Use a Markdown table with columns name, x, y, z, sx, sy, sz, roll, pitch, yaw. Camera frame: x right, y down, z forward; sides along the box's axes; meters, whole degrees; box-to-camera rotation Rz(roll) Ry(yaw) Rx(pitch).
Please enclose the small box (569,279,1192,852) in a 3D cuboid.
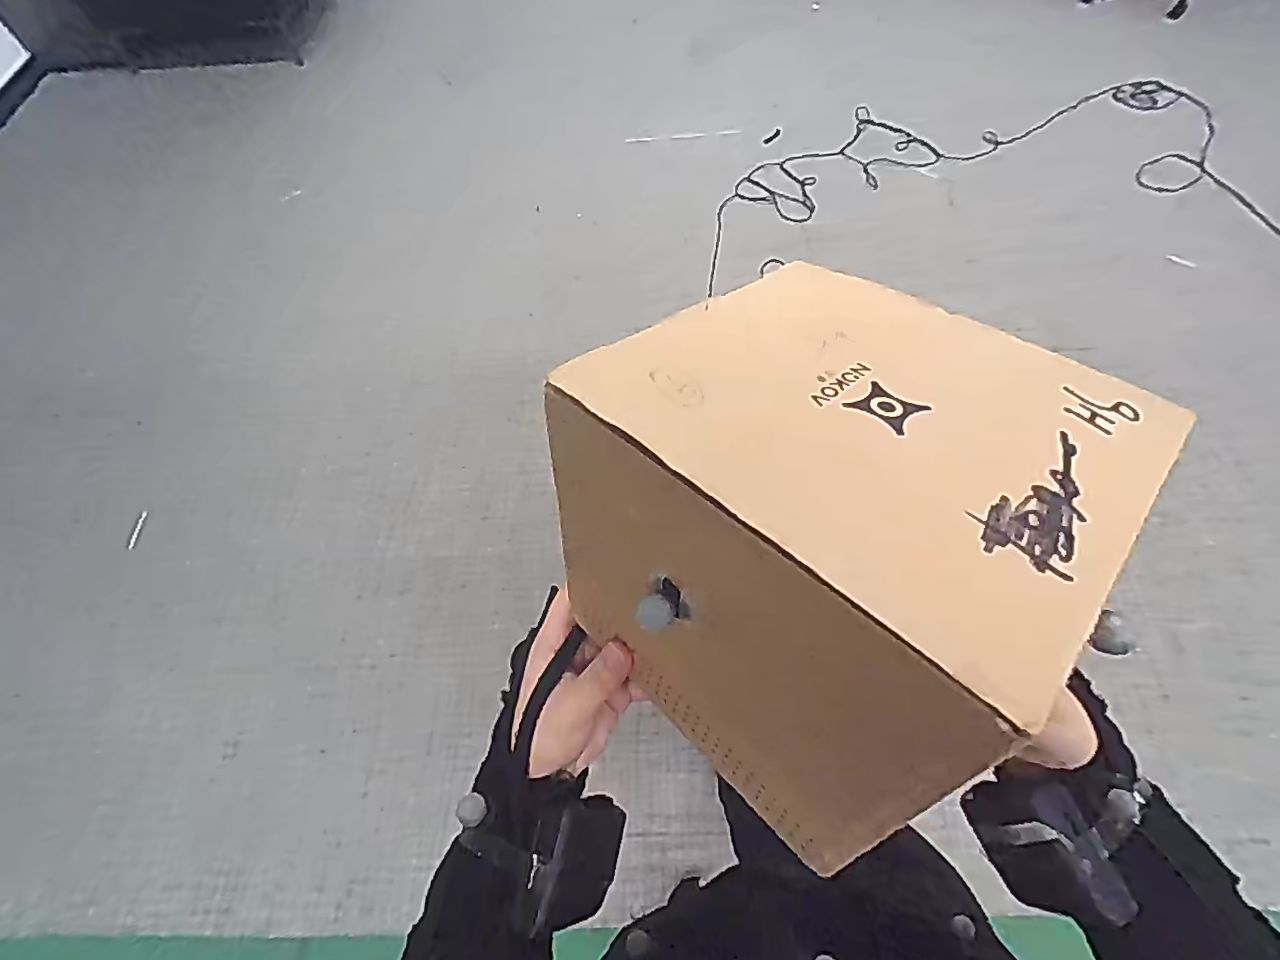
| name | x | y | z | sx | sy | sz | roll | pitch | yaw |
| --- | --- | --- | --- | --- | --- | --- | --- | --- | --- |
| small box | 0.086 | 0.032 | 0.260 | 0.168 | 0.176 | 0.179 | -34 | 55 | -29 |
